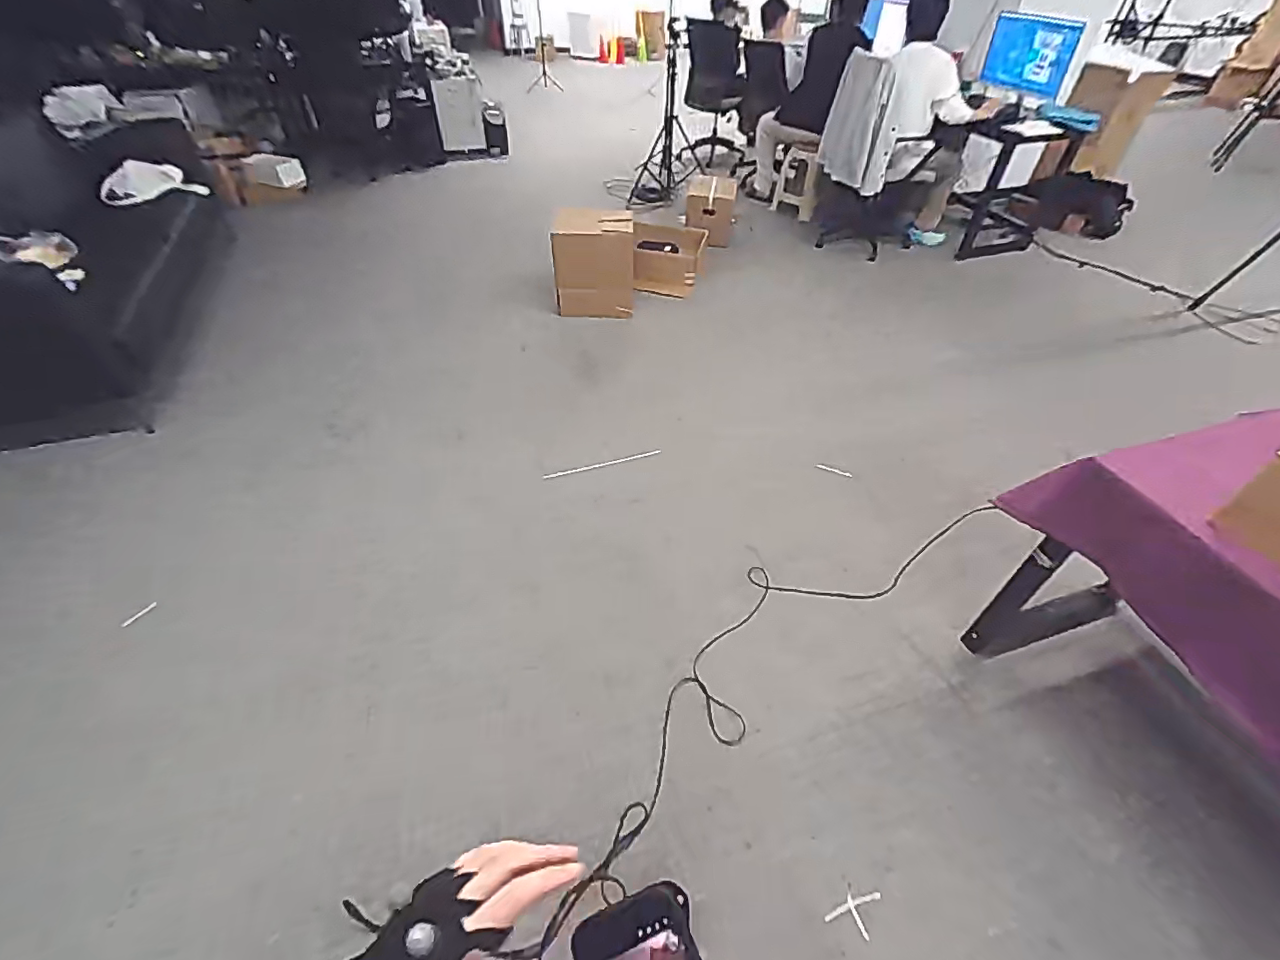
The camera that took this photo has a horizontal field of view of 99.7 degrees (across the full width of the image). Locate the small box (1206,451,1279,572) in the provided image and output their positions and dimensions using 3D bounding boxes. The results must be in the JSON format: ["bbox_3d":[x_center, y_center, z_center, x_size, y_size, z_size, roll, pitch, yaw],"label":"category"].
[{"bbox_3d":[1.167,0.051,0.934,0.168,0.176,0.179,-16,49,-17],"label":"small box"}]
